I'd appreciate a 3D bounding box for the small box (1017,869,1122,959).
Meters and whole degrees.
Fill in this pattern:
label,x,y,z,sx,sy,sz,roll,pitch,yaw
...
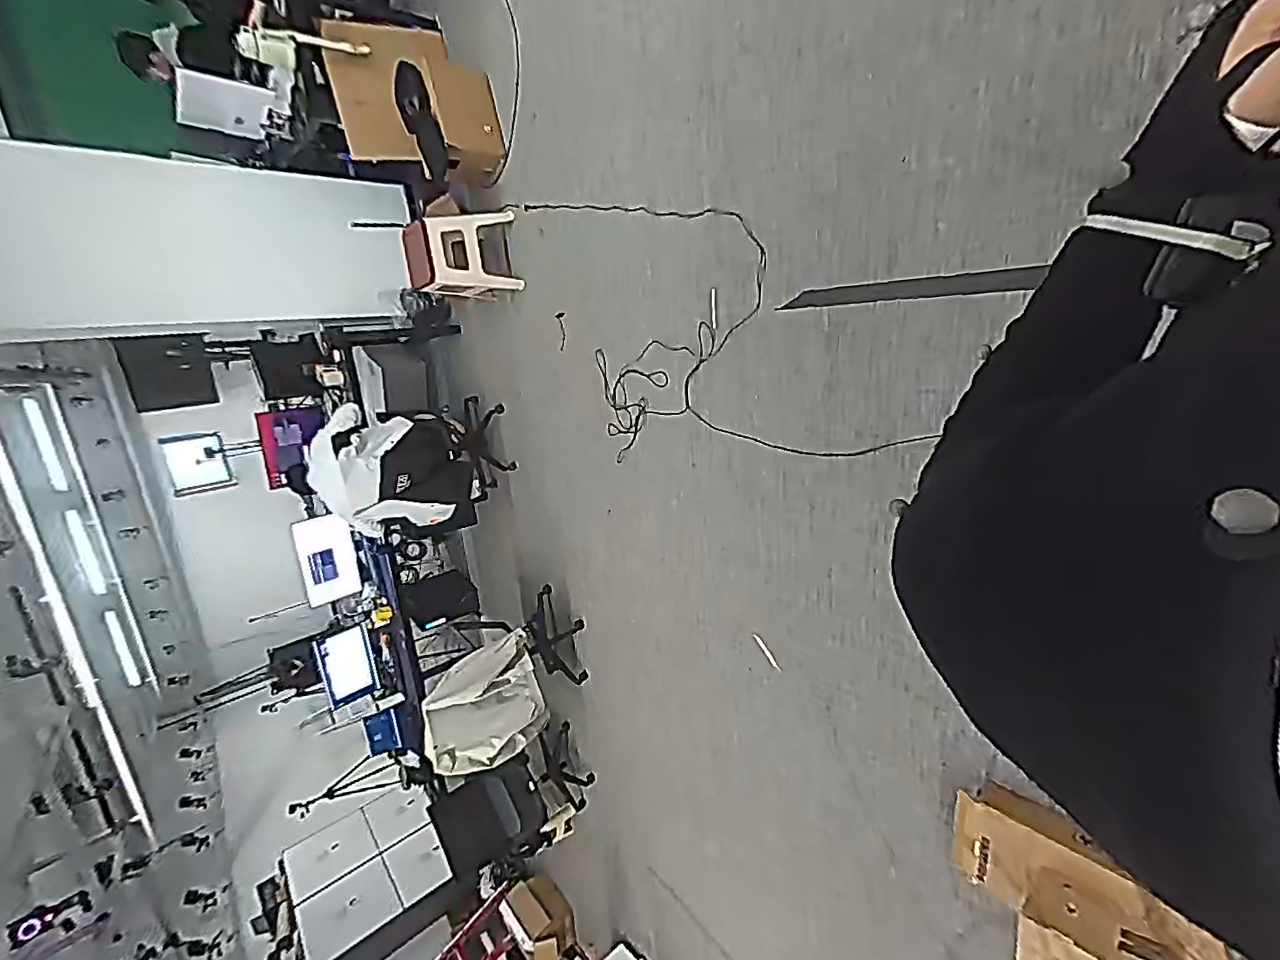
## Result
label,x,y,z,sx,sy,sz,roll,pitch,yaw
small box,1.047,1.110,1.316,0.168,0.176,0.179,10,111,49
